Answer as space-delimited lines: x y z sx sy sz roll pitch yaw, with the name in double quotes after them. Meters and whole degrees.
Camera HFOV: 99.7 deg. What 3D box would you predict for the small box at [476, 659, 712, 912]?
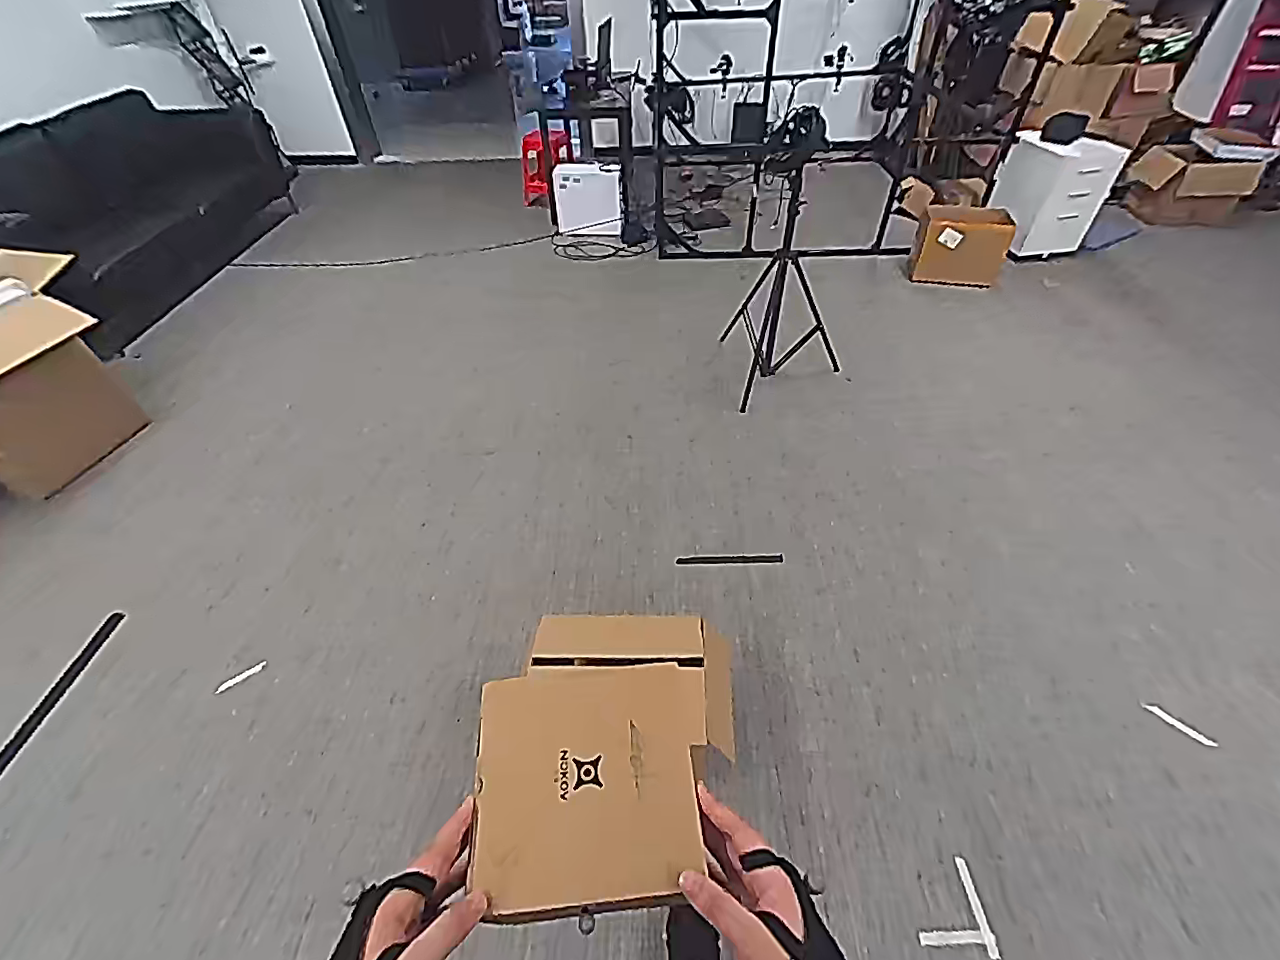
-0.037 0.286 0.502 0.179 0.176 0.168 -6 50 -3 "small box"
